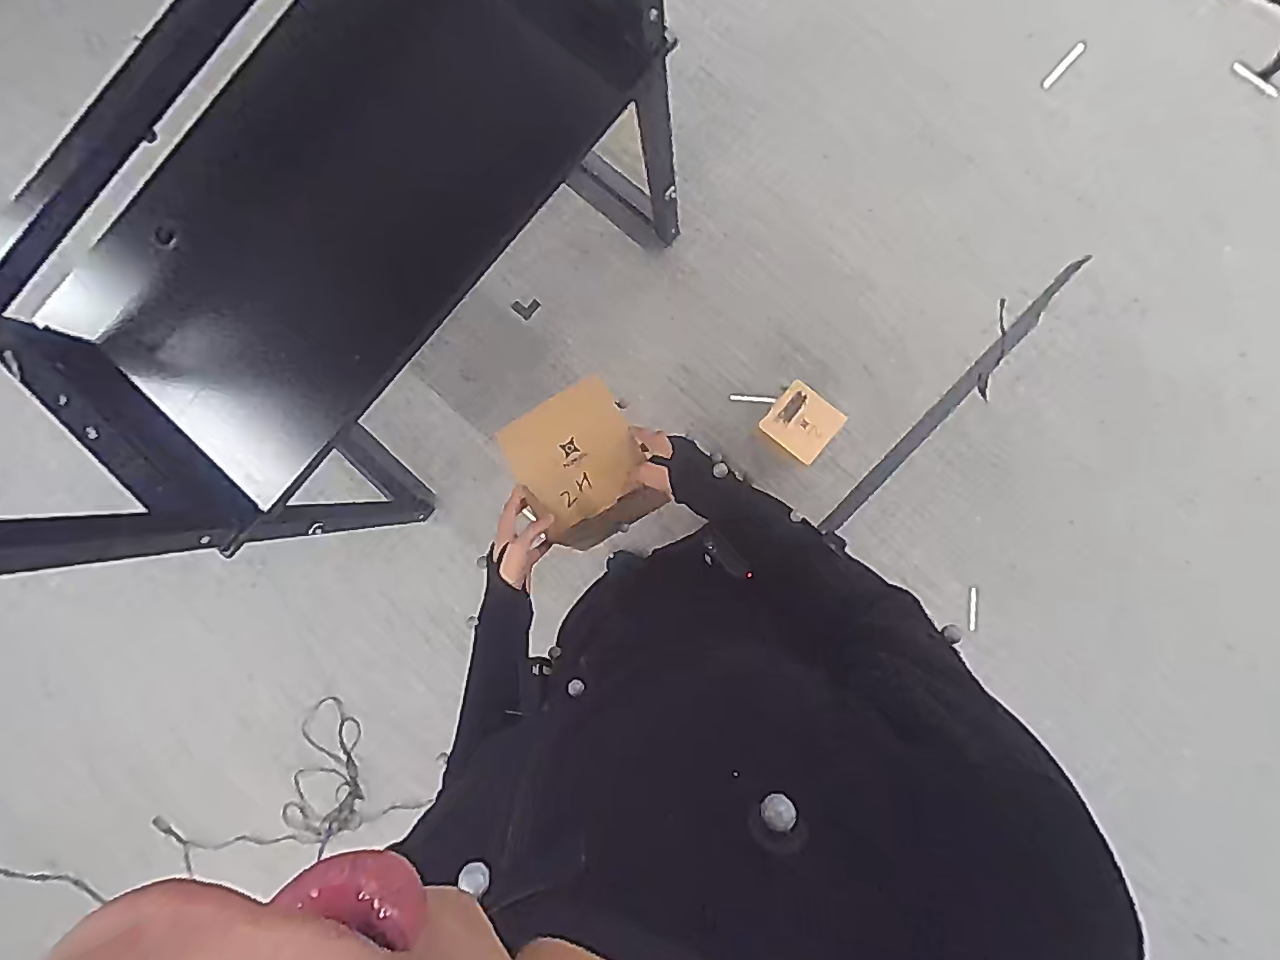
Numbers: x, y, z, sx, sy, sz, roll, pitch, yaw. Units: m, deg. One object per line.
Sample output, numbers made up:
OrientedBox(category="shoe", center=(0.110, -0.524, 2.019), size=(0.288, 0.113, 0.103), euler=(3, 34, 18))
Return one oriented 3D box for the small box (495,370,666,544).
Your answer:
OrientedBox(category="small box", center=(-0.078, -0.022, 0.788), size=(0.168, 0.176, 0.179), euler=(-30, 75, 3))
